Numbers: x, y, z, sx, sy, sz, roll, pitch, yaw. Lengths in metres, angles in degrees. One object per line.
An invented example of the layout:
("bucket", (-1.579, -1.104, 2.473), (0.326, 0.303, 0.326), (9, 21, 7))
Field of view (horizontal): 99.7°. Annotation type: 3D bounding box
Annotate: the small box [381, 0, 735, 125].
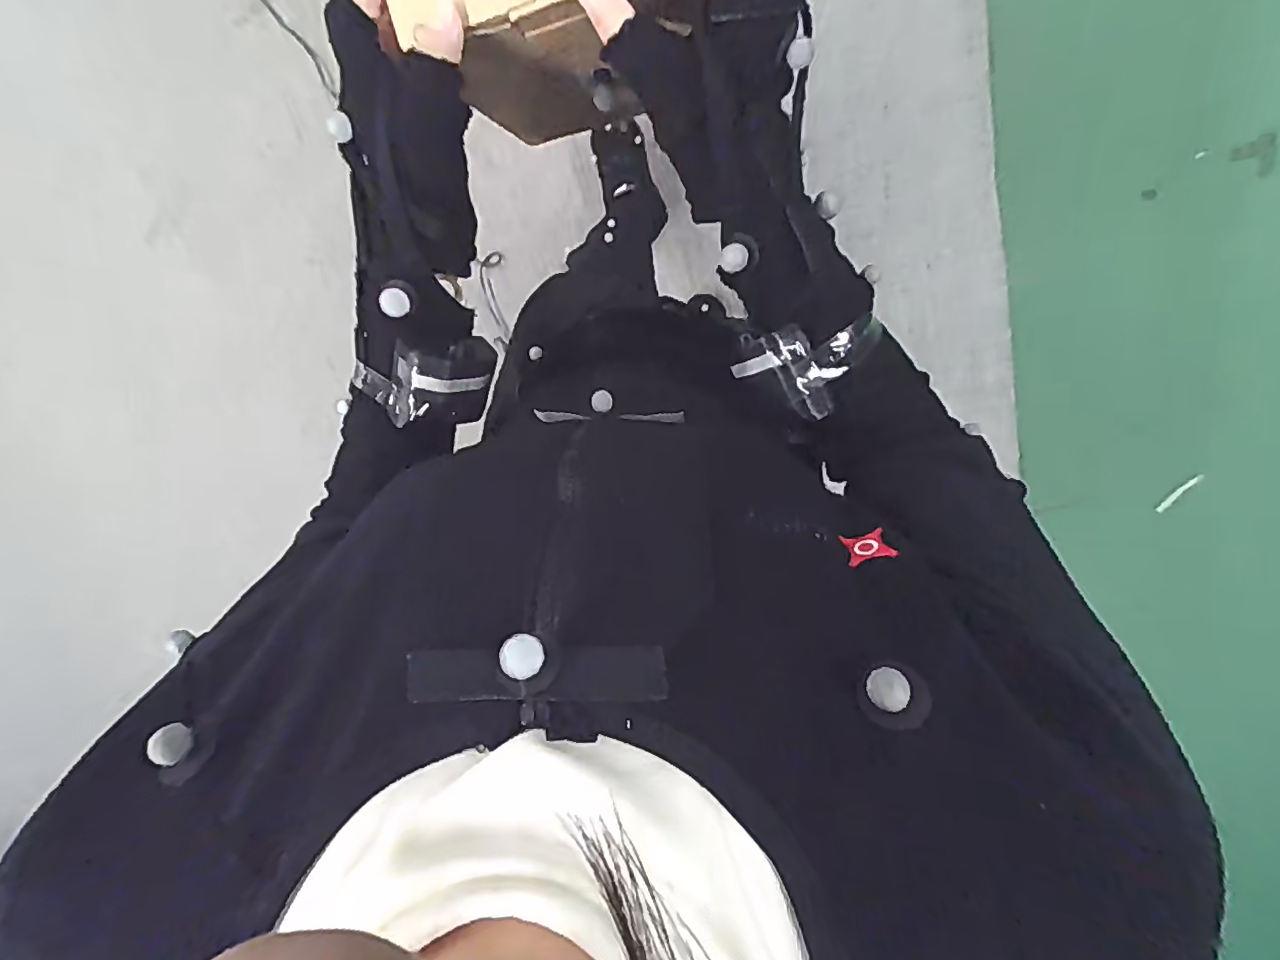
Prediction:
("small box", (-0.041, -0.325, 0.300), (0.168, 0.176, 0.179), (-6, 107, 15))
